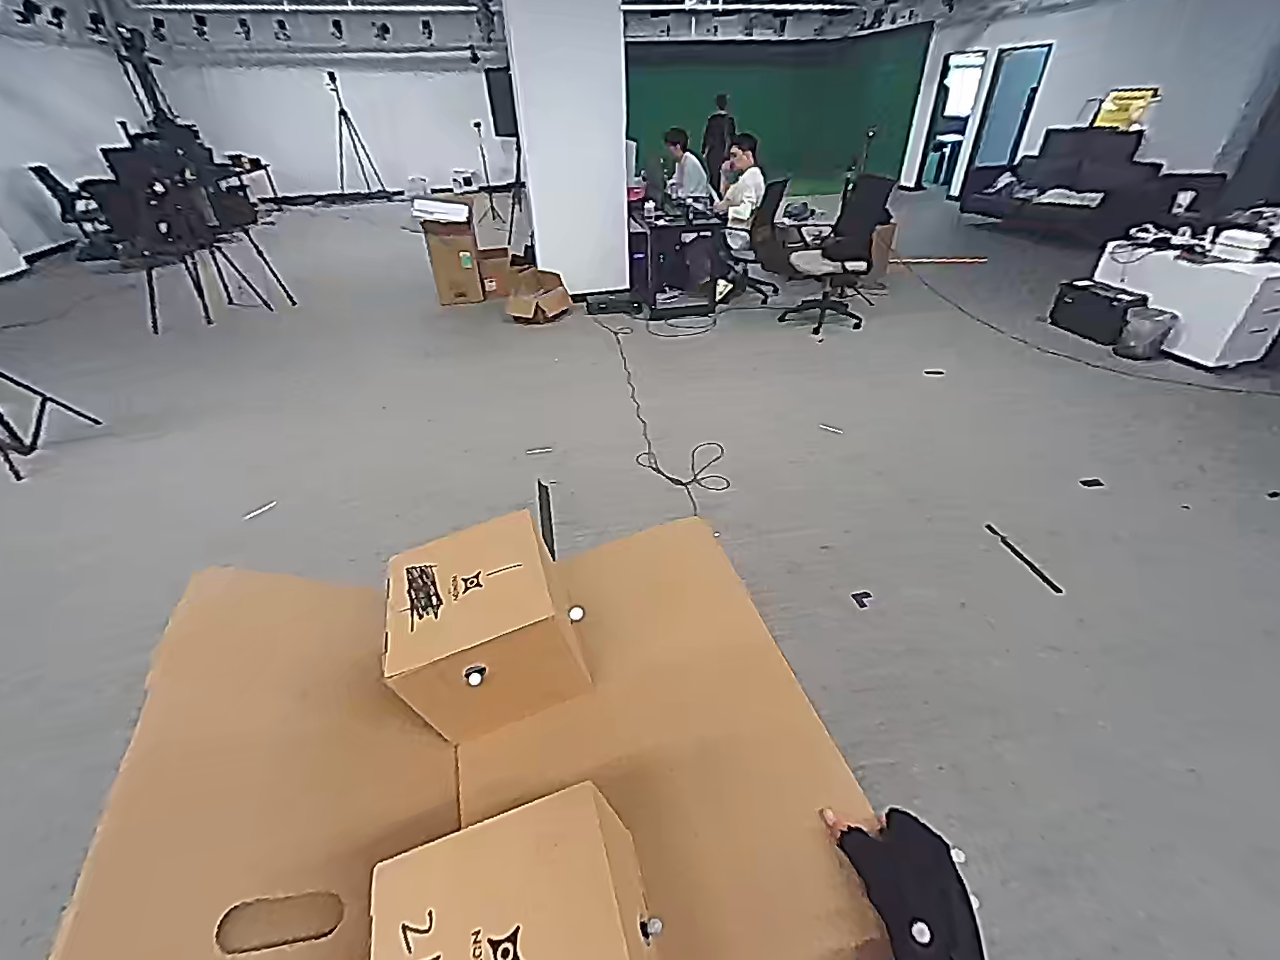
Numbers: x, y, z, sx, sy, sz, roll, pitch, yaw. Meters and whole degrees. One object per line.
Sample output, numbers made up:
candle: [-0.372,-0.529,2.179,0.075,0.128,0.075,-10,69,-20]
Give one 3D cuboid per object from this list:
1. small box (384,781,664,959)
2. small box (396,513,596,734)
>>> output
small box: [-0.077,0.374,0.425,0.179,0.176,0.168,-19,43,-4]
small box: [-0.169,0.176,0.657,0.179,0.176,0.168,-19,43,-6]
